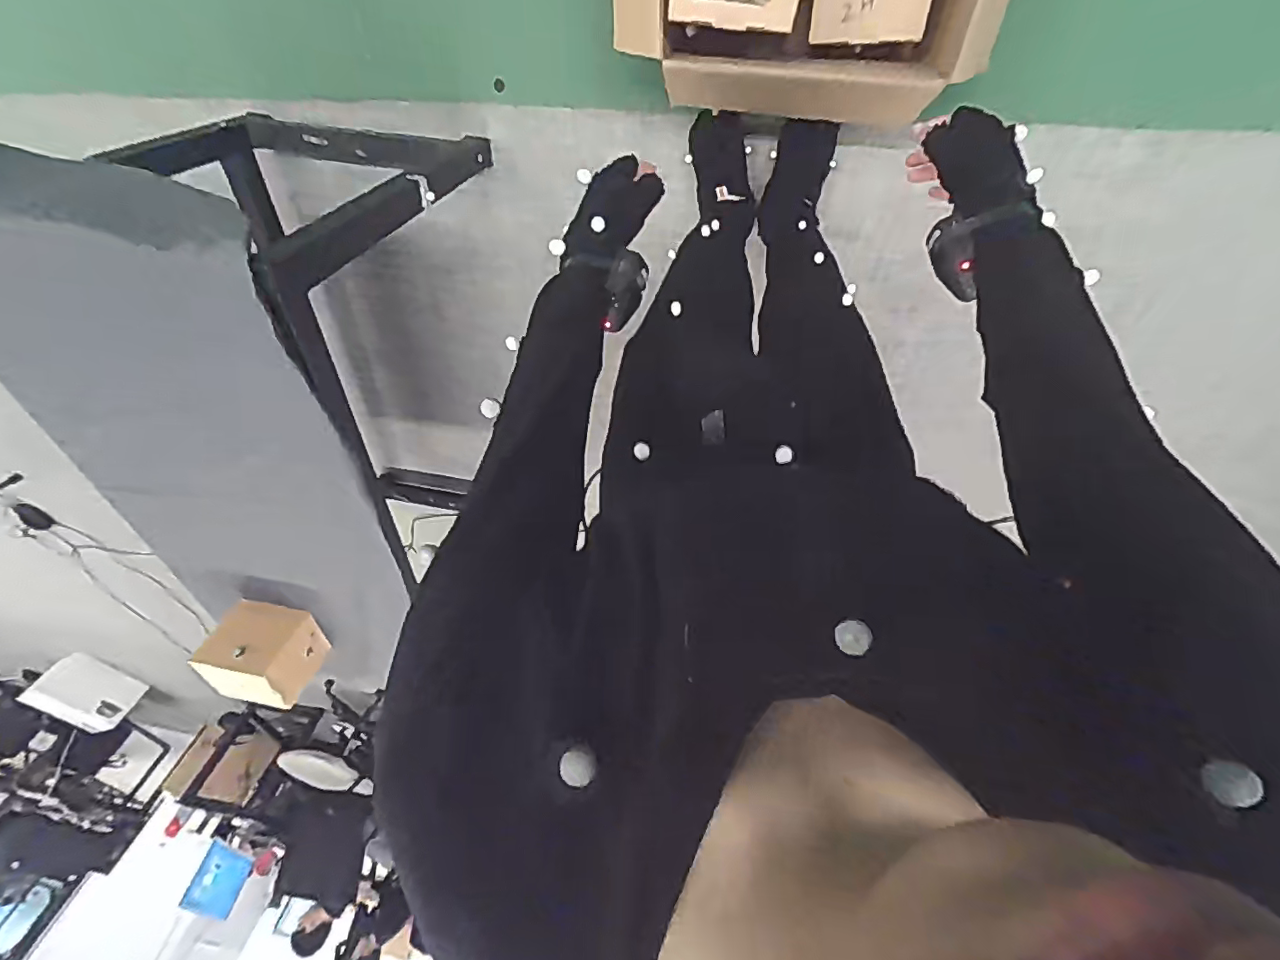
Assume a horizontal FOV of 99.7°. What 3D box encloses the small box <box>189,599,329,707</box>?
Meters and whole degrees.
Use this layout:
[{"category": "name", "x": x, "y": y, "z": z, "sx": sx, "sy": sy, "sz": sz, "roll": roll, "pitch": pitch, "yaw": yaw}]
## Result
[{"category": "small box", "x": -0.875, "y": 0.400, "z": 1.262, "sx": 0.179, "sy": 0.176, "sz": 0.168, "roll": 10, "pitch": 134, "yaw": 4}]
